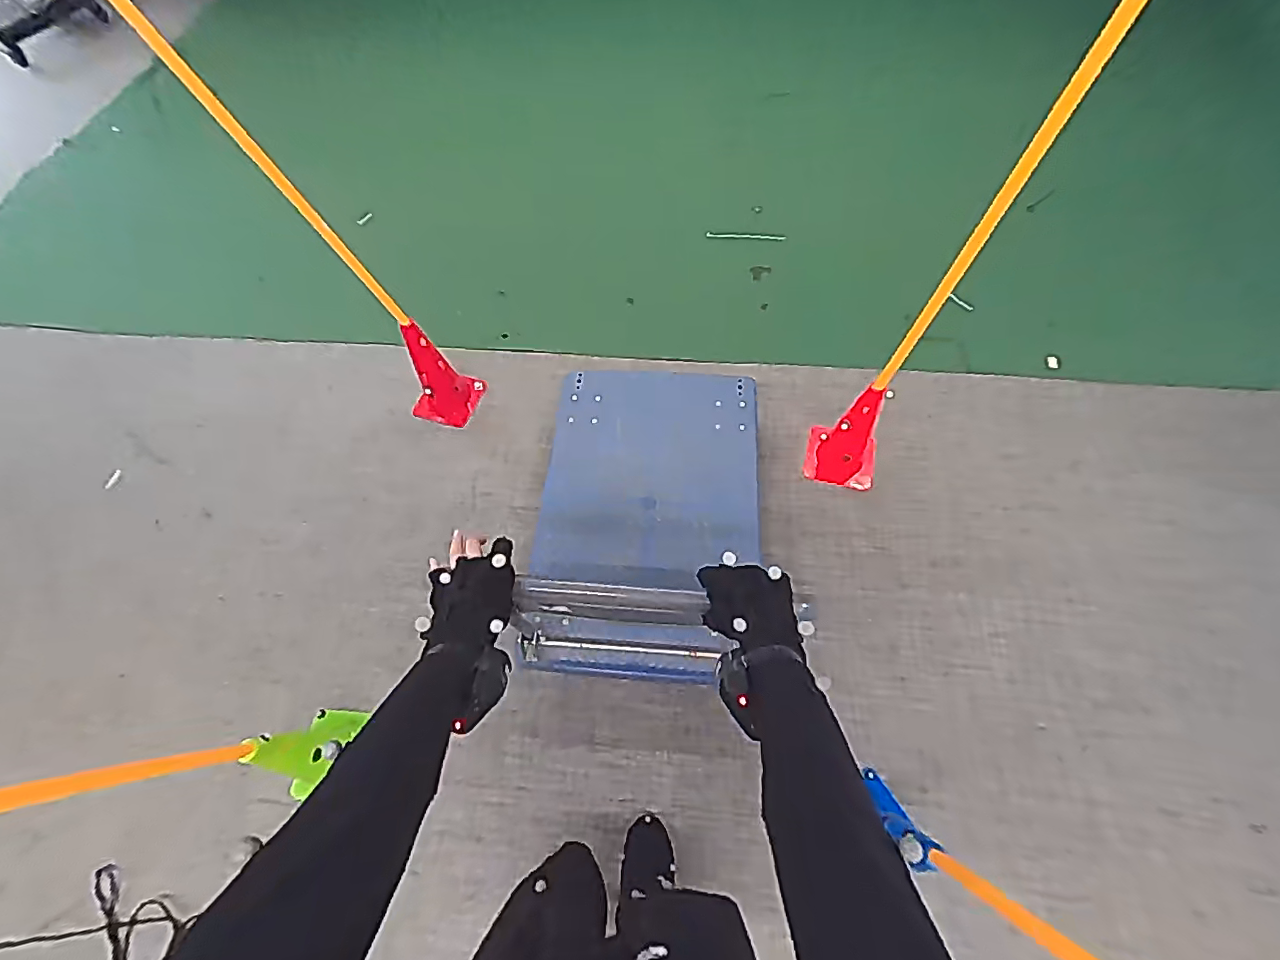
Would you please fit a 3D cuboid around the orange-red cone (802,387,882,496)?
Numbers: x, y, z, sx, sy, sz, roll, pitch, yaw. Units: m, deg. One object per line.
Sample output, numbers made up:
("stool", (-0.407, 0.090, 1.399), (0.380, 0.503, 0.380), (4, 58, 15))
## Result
("orange-red cone", (0.603, -0.133, 1.517), (0.198, 0.360, 0.199), (14, 63, 10))
